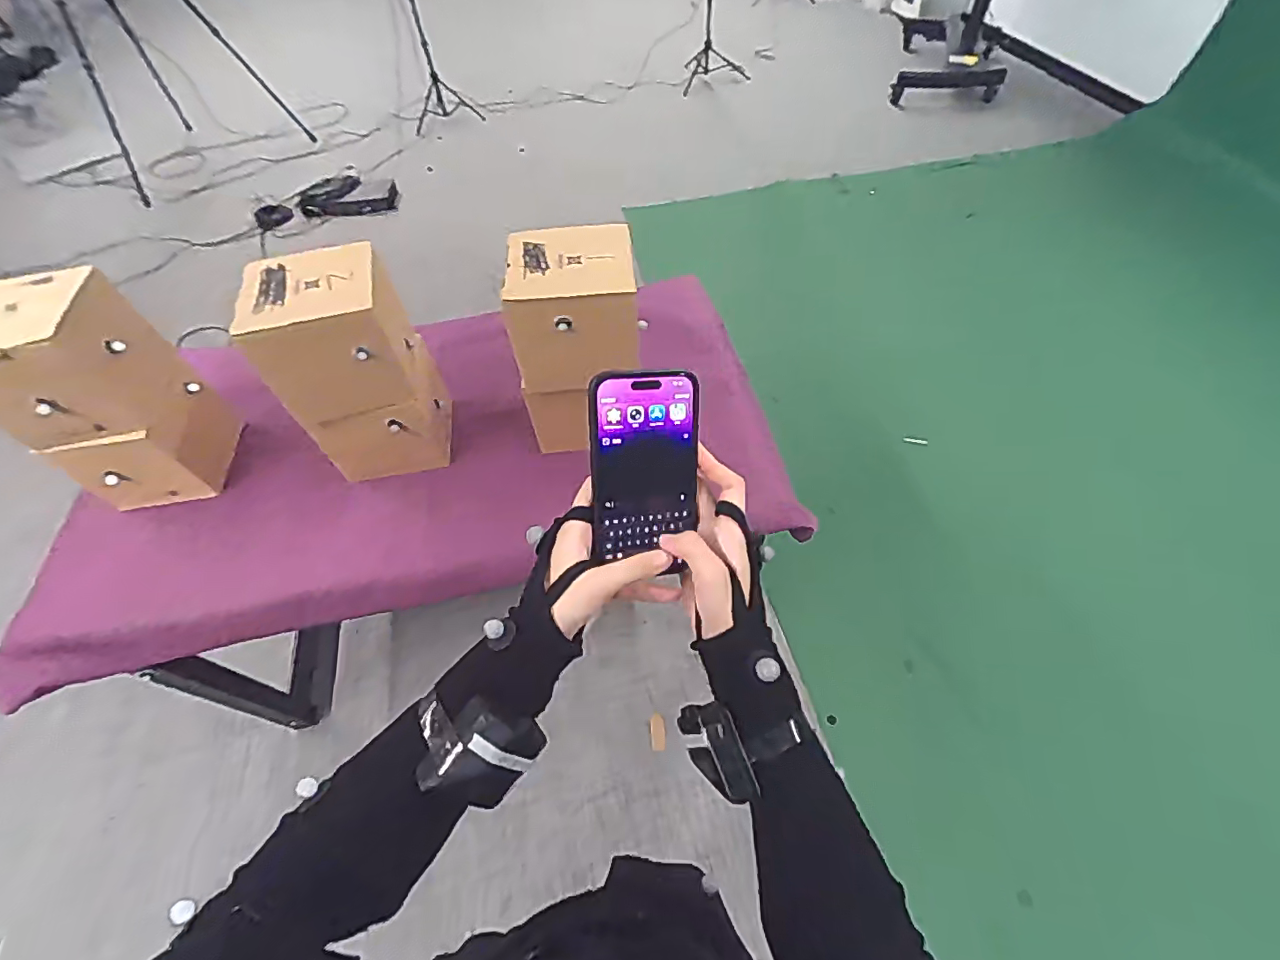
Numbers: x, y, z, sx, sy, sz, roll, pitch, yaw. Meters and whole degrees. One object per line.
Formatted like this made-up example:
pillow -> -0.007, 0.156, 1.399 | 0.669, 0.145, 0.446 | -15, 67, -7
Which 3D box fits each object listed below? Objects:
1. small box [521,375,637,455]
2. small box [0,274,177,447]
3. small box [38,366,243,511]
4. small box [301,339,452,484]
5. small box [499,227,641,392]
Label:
small box -> -0.097, -0.160, 0.942 | 0.179, 0.176, 0.168 | -5, 54, 1
small box -> -0.832, -0.165, 0.788 | 0.168, 0.176, 0.179 | -13, 55, -7
small box -> -0.822, -0.062, 0.916 | 0.168, 0.176, 0.179 | -10, 54, -3
small box -> -0.435, -0.114, 0.927 | 0.179, 0.176, 0.168 | -10, 54, -4
small box -> -0.095, -0.246, 0.801 | 0.179, 0.176, 0.168 | -5, 54, 0
